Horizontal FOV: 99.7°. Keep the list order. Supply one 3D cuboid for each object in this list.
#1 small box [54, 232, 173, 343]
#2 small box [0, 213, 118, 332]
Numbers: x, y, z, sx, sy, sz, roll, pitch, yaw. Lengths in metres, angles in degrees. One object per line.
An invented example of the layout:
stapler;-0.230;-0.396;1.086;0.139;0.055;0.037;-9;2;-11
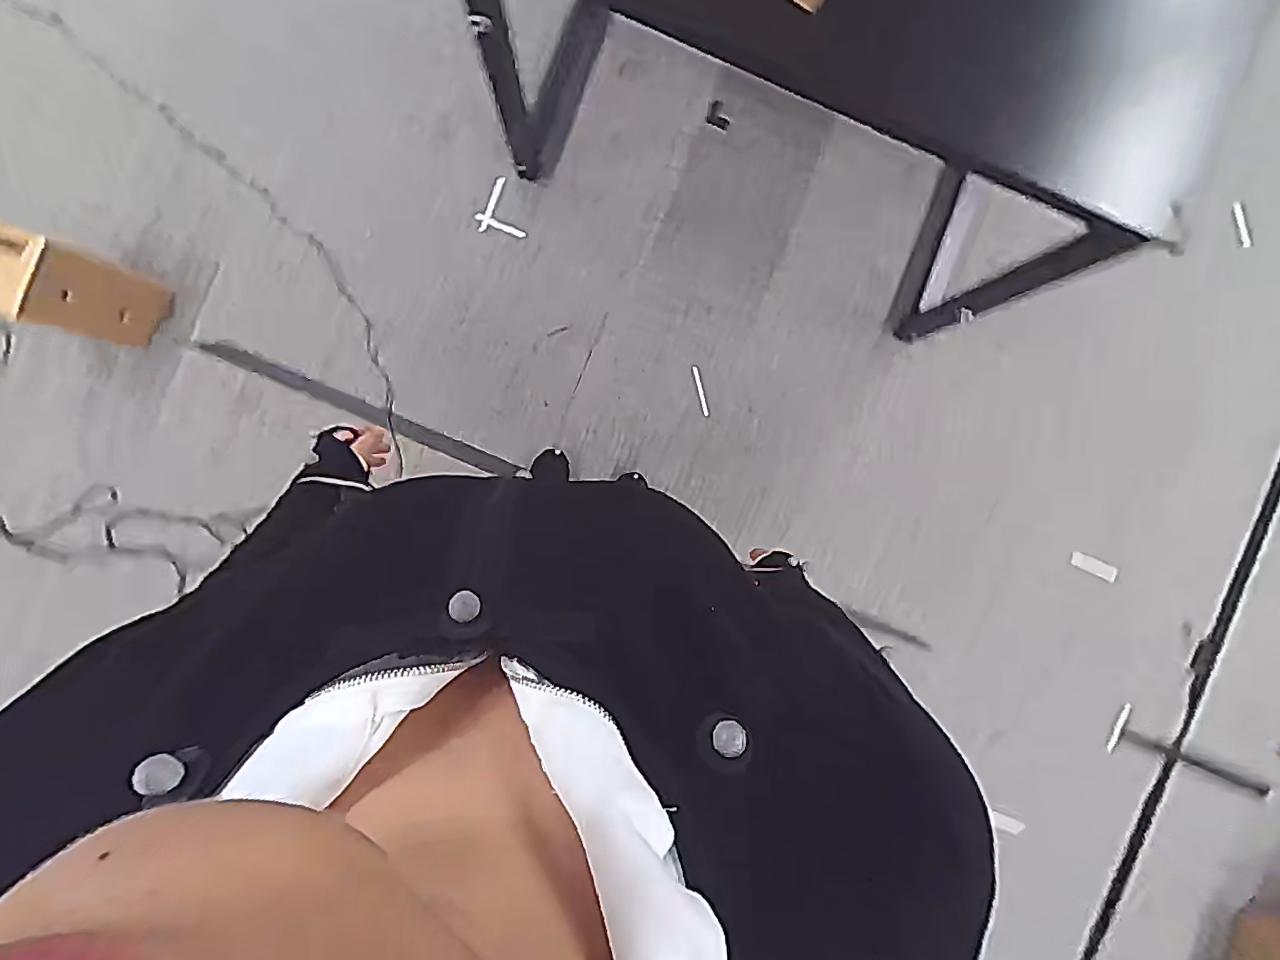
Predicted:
small box;-1.312;-0.459;1.323;0.168;0.176;0.179;29;90;-4
small box;-1.292;-0.444;1.159;0.168;0.176;0.179;23;90;-4
